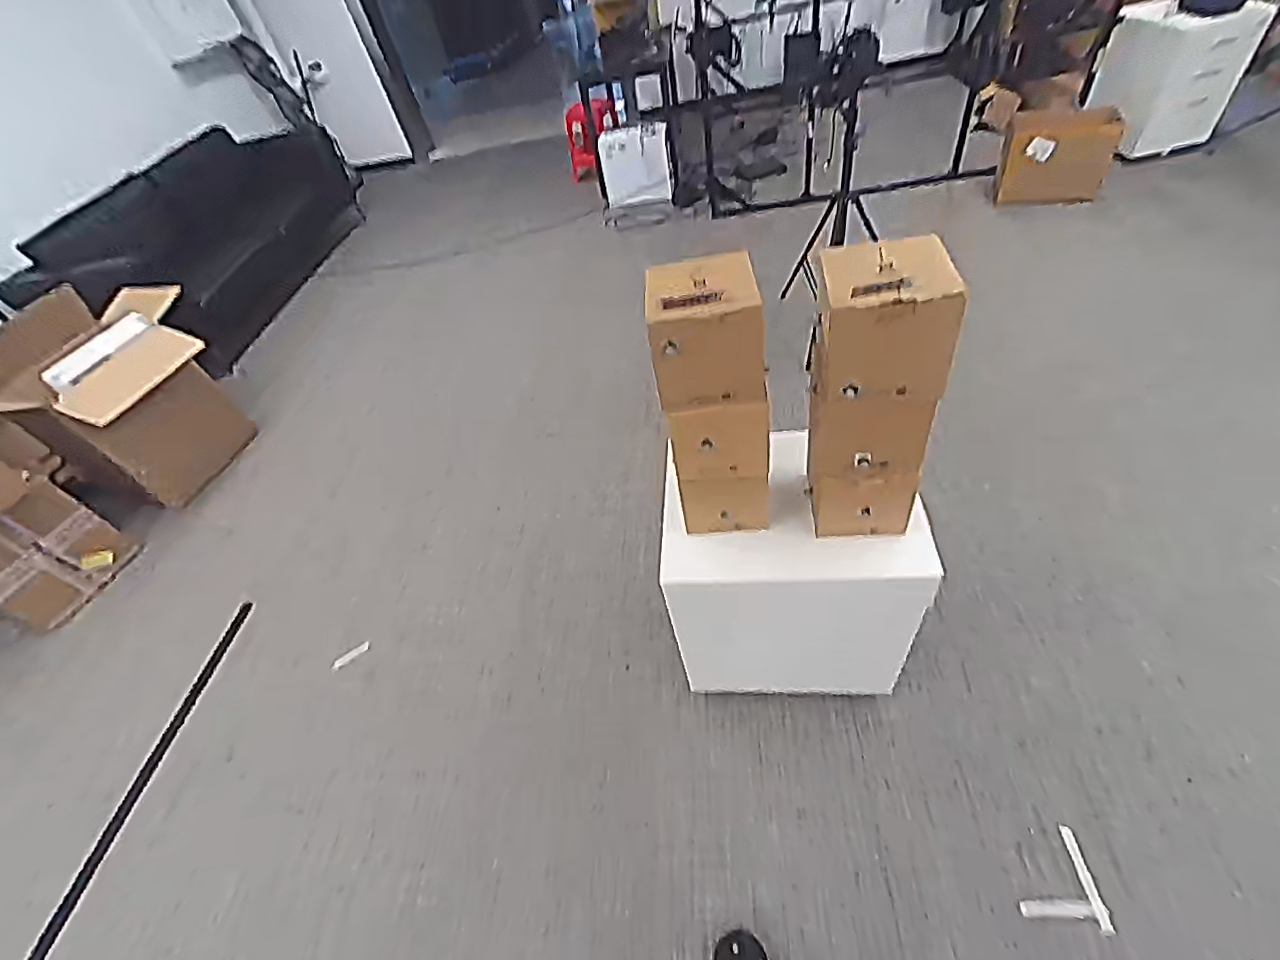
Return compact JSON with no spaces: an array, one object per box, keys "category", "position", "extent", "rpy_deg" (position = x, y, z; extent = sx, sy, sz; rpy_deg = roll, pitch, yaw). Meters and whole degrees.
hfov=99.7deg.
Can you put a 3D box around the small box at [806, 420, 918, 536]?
[{"category":"small box","position":[0.414,-0.004,1.036],"extent":[0.168,0.176,0.179],"rpy_deg":[-3,49,11]}]

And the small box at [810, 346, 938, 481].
[{"category":"small box","position":[0.385,-0.120,0.925],"extent":[0.168,0.176,0.179],"rpy_deg":[-4,48,13]}]

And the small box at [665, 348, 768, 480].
[{"category":"small box","position":[0.141,-0.112,0.978],"extent":[0.168,0.176,0.179],"rpy_deg":[-4,46,9]}]

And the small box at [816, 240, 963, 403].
[{"category":"small box","position":[0.355,-0.228,0.805],"extent":[0.168,0.176,0.179],"rpy_deg":[-3,46,13]}]
